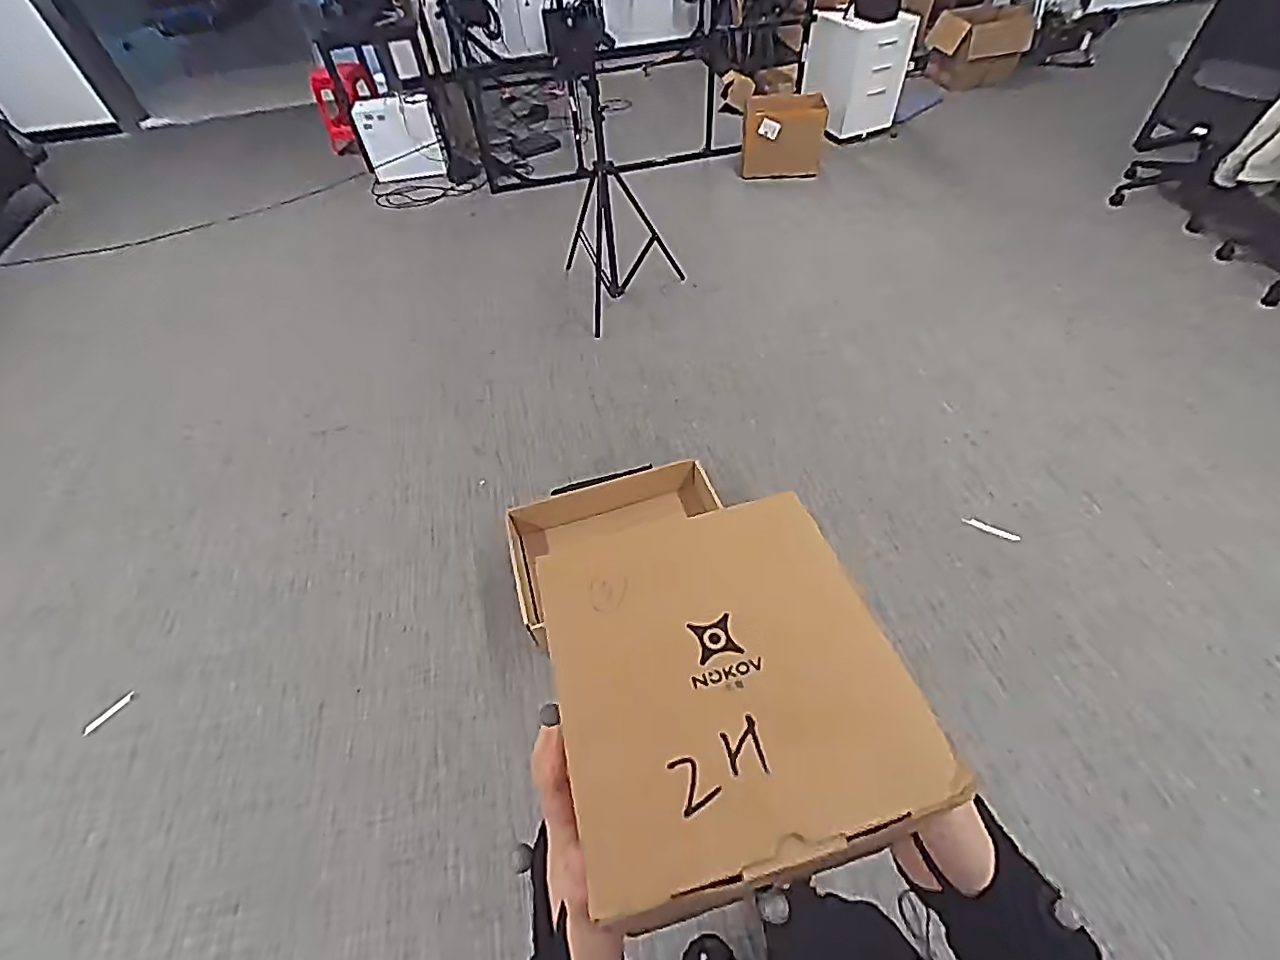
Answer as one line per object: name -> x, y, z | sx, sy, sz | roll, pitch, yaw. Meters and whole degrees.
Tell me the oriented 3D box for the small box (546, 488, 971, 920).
small box -> 0.047, 0.137, 0.333 | 0.168, 0.176, 0.179 | -14, 49, -7
